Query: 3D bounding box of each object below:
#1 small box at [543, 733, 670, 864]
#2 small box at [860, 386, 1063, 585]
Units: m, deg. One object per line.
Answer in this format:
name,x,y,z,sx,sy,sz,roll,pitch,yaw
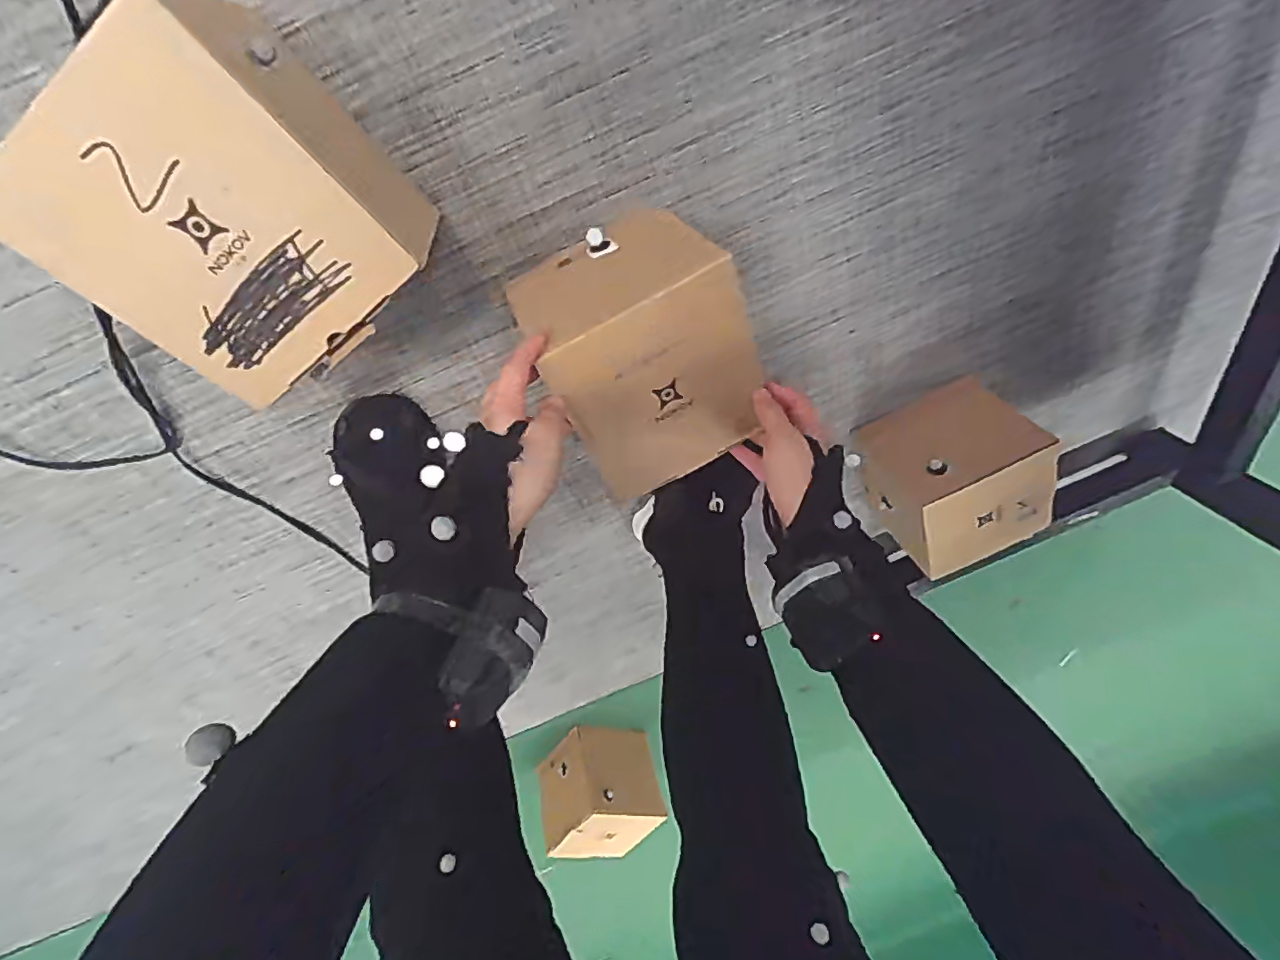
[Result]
small box,-0.073,0.620,1.057,0.179,0.176,0.168,23,116,-29
small box,0.423,0.005,0.741,0.179,0.176,0.168,-27,130,5
